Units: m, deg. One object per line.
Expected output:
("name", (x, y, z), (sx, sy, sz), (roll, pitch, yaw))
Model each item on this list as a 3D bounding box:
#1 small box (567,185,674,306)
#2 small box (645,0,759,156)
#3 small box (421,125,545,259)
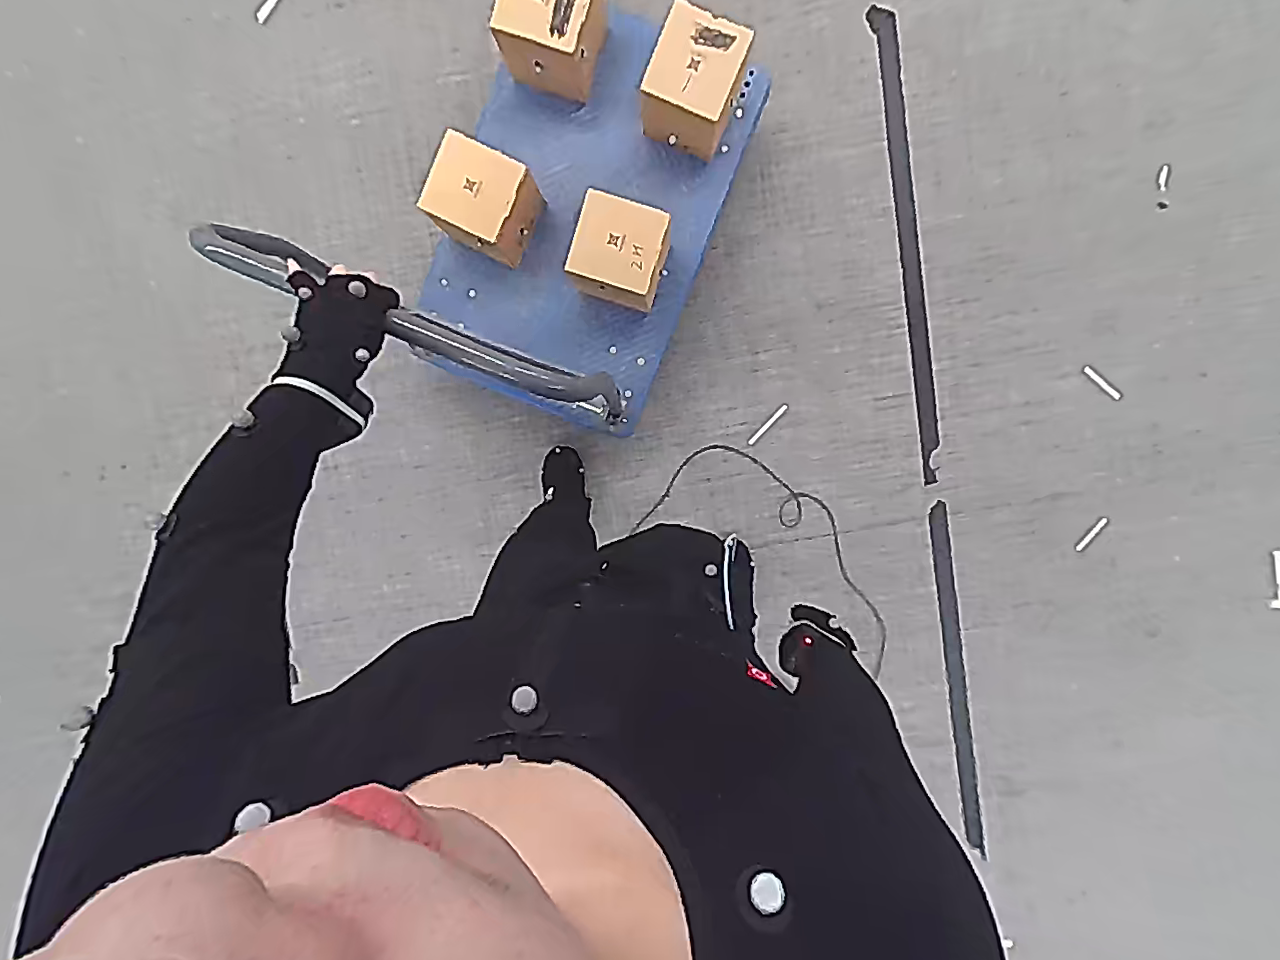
("small box", (-0.035, -0.484, 1.143), (0.179, 0.176, 0.168), (19, 97, 1))
("small box", (0.118, -0.810, 1.100), (0.168, 0.176, 0.179), (24, 98, 0))
("small box", (-0.323, -0.595, 1.145), (0.179, 0.176, 0.168), (25, 96, -2))
